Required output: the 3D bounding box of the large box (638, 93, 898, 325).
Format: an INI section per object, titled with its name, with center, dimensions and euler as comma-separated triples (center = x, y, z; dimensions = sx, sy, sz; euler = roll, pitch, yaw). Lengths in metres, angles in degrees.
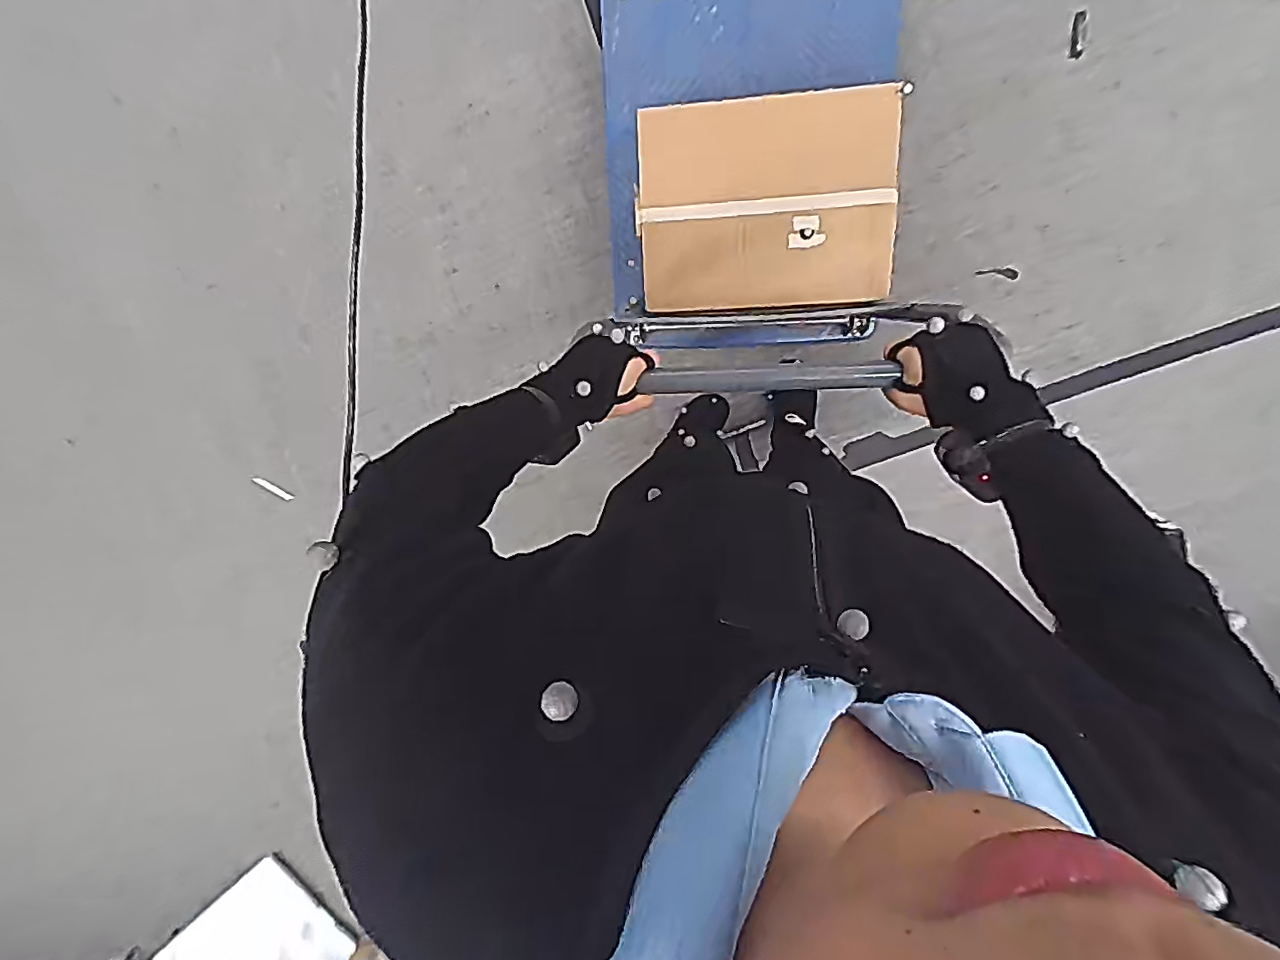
[large box]
center = 0.217, -0.468, 1.019
dimensions = 0.408, 0.320, 0.320
euler = -1, 106, 7
